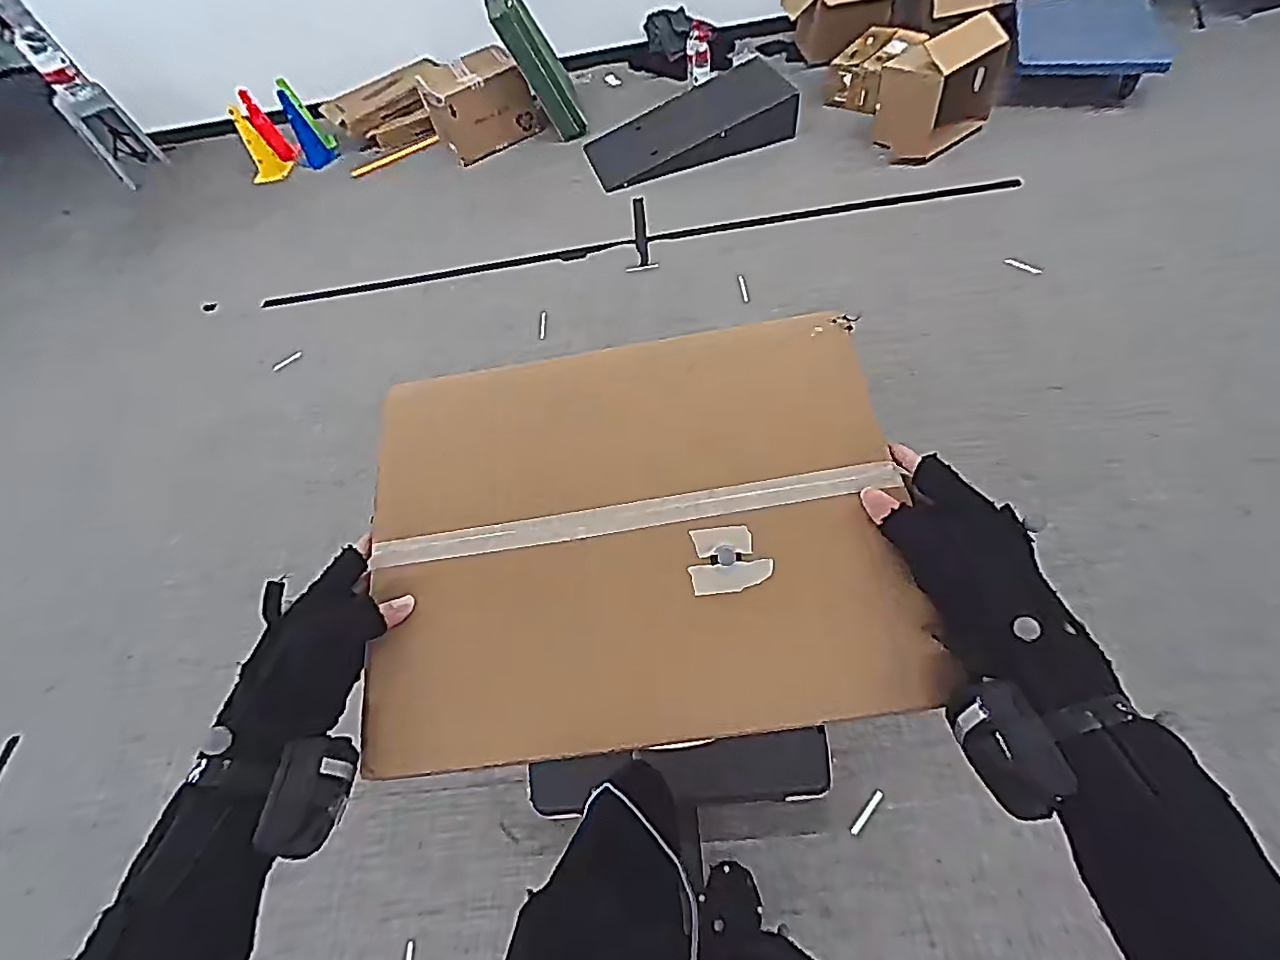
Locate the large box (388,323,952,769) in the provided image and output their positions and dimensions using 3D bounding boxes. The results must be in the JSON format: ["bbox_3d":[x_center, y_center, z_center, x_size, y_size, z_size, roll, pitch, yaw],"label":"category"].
[{"bbox_3d":[0.011,0.089,0.565,0.408,0.320,0.320,-9,67,3],"label":"large box"}]
